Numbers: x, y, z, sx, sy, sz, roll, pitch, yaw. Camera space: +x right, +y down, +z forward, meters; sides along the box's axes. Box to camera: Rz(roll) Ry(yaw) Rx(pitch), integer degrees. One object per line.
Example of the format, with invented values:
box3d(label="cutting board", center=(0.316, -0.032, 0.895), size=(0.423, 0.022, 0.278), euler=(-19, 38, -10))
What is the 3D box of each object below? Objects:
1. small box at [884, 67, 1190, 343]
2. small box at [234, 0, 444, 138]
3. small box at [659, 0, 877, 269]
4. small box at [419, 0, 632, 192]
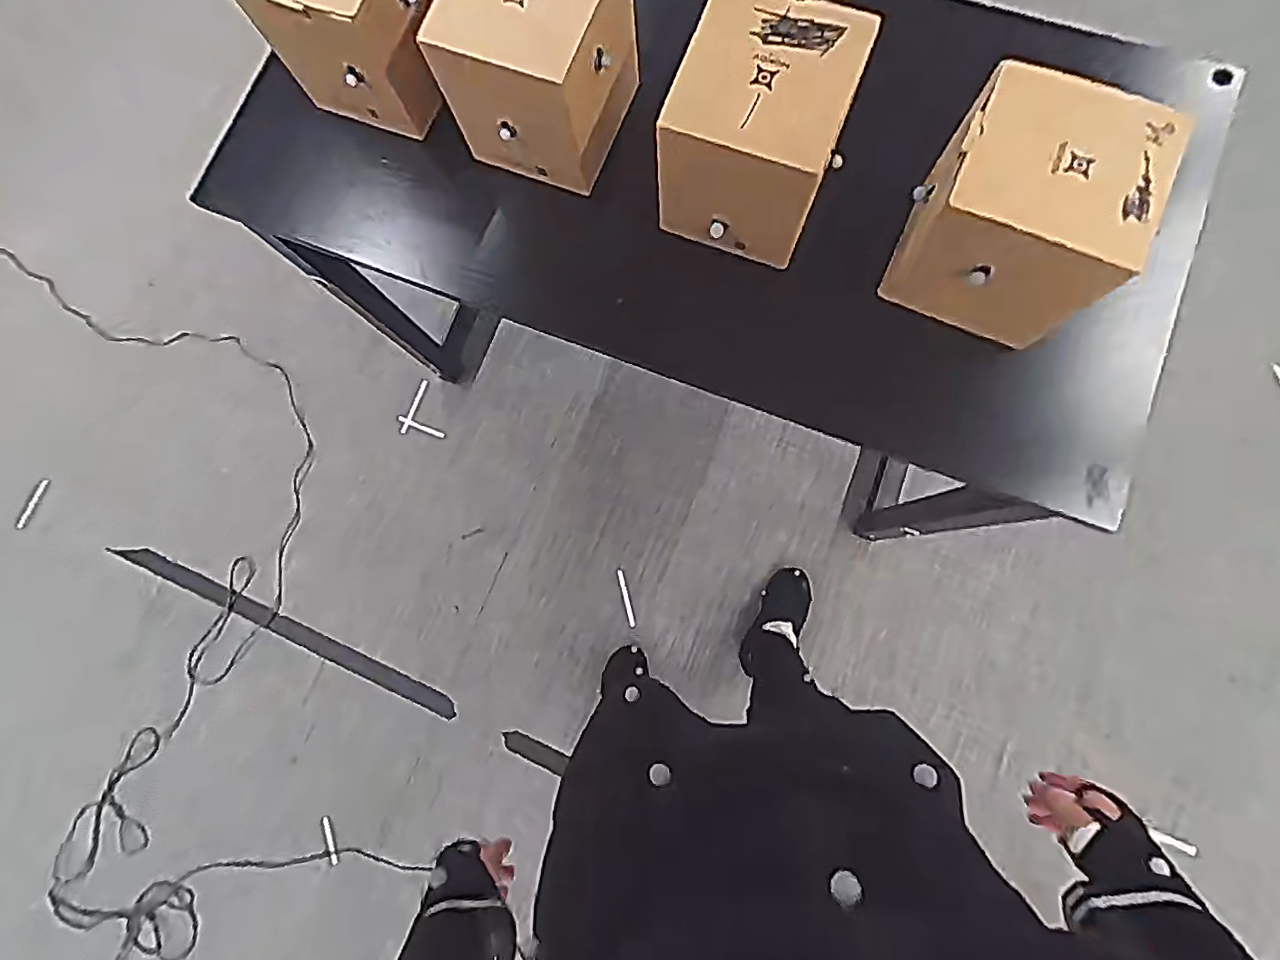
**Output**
box3d(label="small box", center=(0.386, -0.267, 0.562), size=(0.179, 0.176, 0.168), euler=(24, 83, 8))
box3d(label="small box", center=(-0.336, -0.565, 0.657), size=(0.168, 0.176, 0.179), euler=(21, 82, 5))
box3d(label="small box", center=(0.127, -0.373, 0.596), size=(0.168, 0.176, 0.179), euler=(22, 84, 7))
box3d(label="small box", center=(-0.114, -0.478, 0.627), size=(0.168, 0.176, 0.179), euler=(22, 83, 6))
